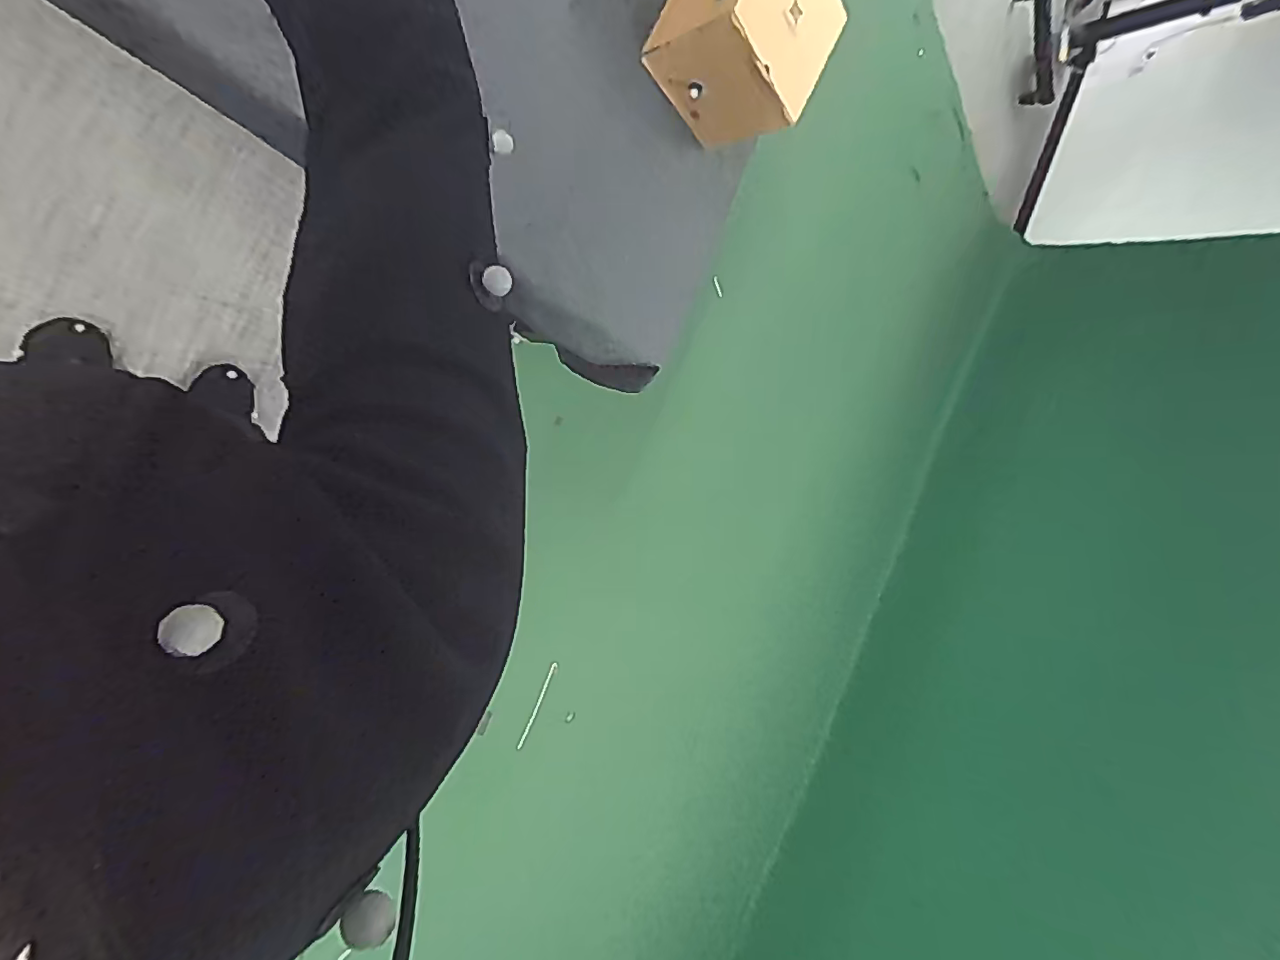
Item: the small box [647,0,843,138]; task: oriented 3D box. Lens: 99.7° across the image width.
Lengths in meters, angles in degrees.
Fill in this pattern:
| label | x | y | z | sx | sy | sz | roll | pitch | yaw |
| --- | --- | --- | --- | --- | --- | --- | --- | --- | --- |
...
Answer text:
| label | x | y | z | sx | sy | sz | roll | pitch | yaw |
| --- | --- | --- | --- | --- | --- | --- | --- | --- | --- |
| small box | 0.138 | -0.607 | 0.731 | 0.168 | 0.176 | 0.179 | 28 | 87 | -45 |
